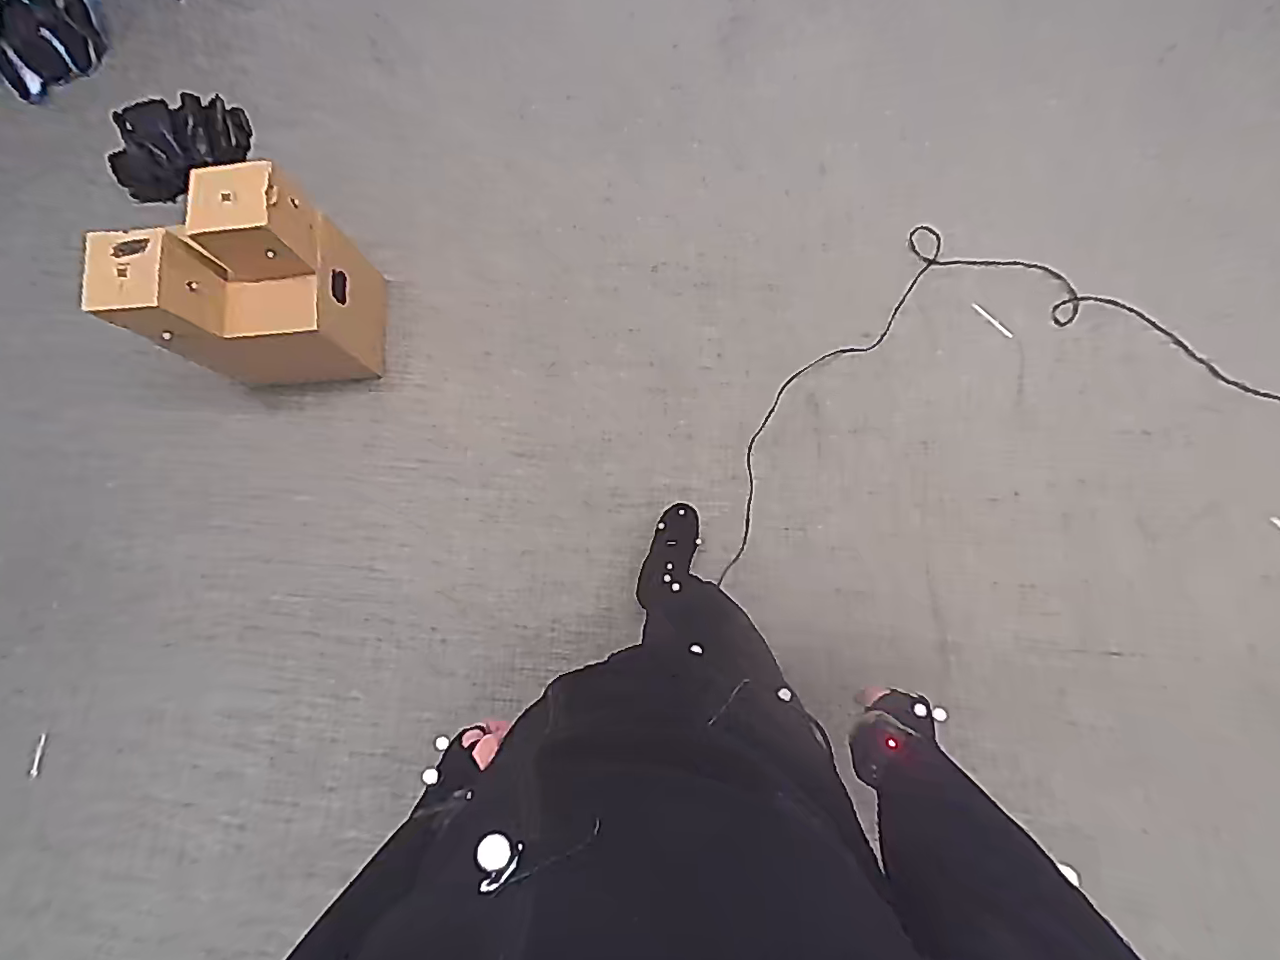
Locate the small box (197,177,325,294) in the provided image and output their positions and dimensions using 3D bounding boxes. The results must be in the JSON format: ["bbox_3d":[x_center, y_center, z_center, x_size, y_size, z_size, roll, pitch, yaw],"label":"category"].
[{"bbox_3d":[-0.851,-0.550,1.232,0.179,0.176,0.168,-8,75,3],"label":"small box"}]

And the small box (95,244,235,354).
[{"bbox_3d":[-1.051,-0.400,1.212,0.168,0.176,0.179,-3,82,3],"label":"small box"}]
